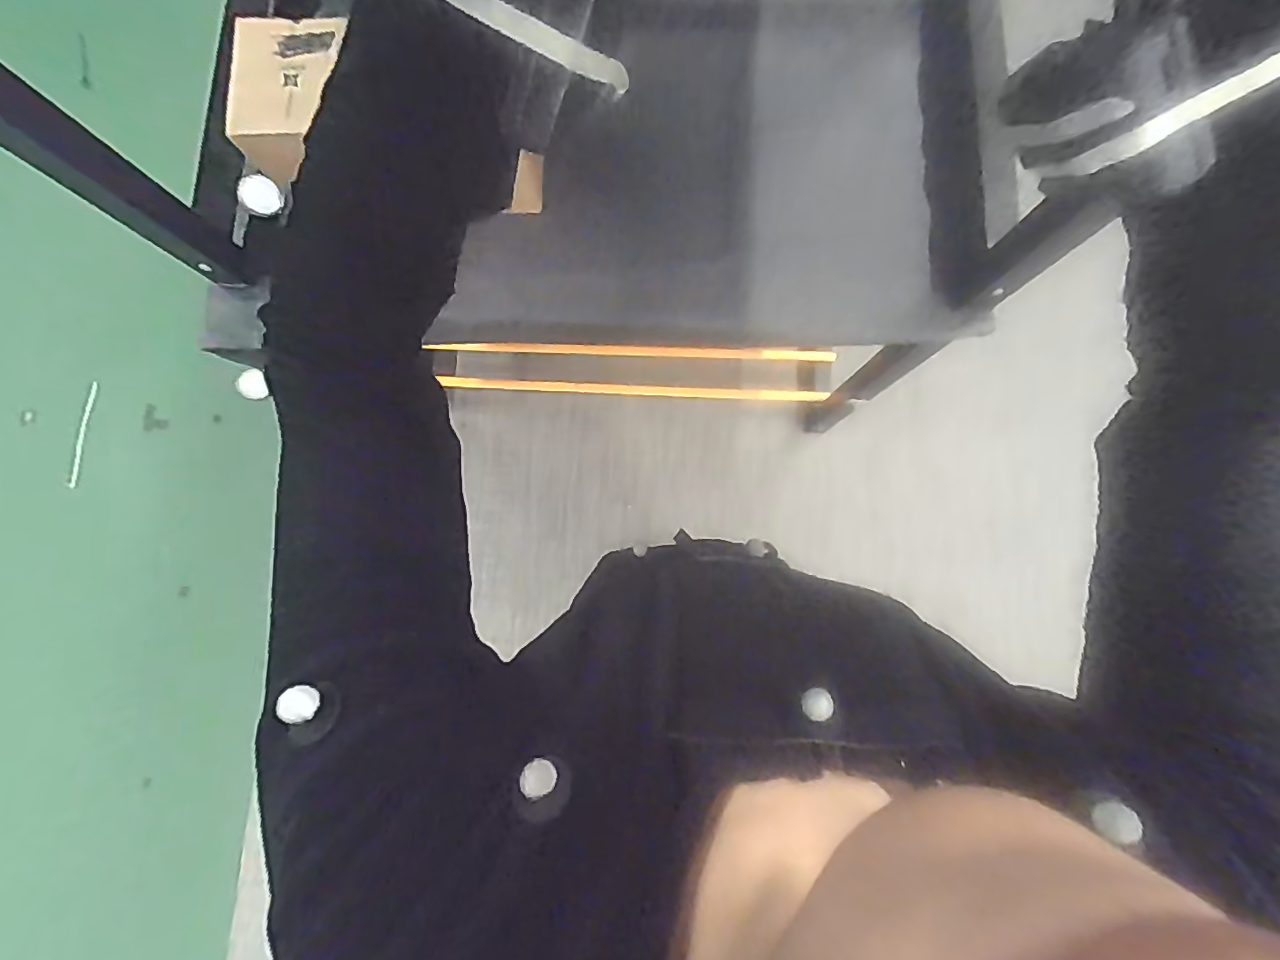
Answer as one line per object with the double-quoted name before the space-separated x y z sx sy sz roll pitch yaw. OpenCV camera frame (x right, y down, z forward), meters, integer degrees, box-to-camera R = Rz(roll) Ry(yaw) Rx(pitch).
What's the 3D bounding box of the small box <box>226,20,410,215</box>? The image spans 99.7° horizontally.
"small box" -0.456 -0.522 0.794 0.168 0.176 0.179 0 82 1
